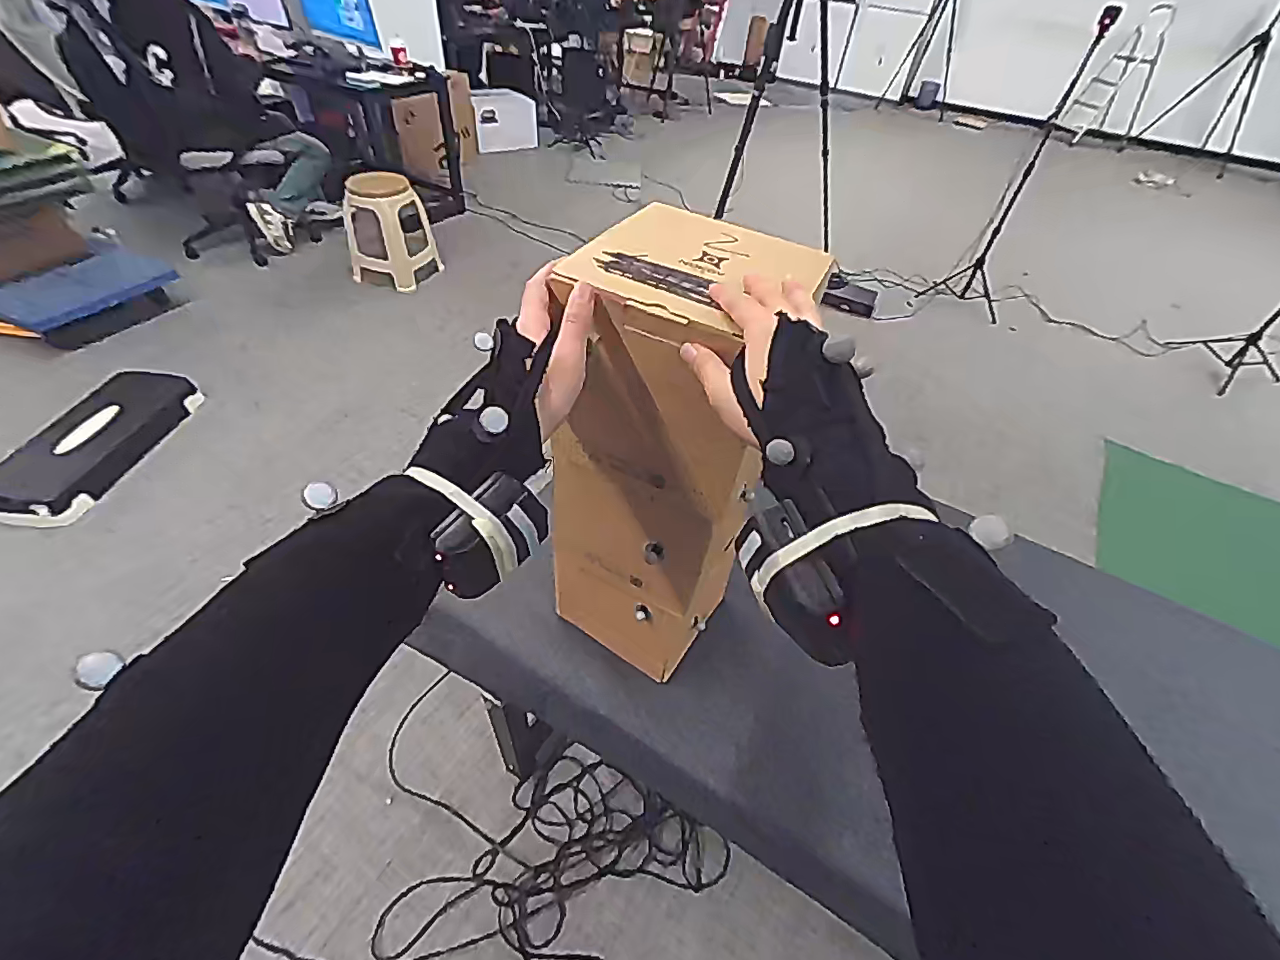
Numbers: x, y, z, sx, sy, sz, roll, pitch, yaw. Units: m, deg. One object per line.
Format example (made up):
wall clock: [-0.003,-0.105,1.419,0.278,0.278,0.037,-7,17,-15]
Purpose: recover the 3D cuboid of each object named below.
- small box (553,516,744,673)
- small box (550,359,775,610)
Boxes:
small box: [0.006,0.114,0.697,0.179,0.176,0.168,28,48,20]
small box: [0.021,0.005,0.577,0.168,0.176,0.179,25,46,15]
